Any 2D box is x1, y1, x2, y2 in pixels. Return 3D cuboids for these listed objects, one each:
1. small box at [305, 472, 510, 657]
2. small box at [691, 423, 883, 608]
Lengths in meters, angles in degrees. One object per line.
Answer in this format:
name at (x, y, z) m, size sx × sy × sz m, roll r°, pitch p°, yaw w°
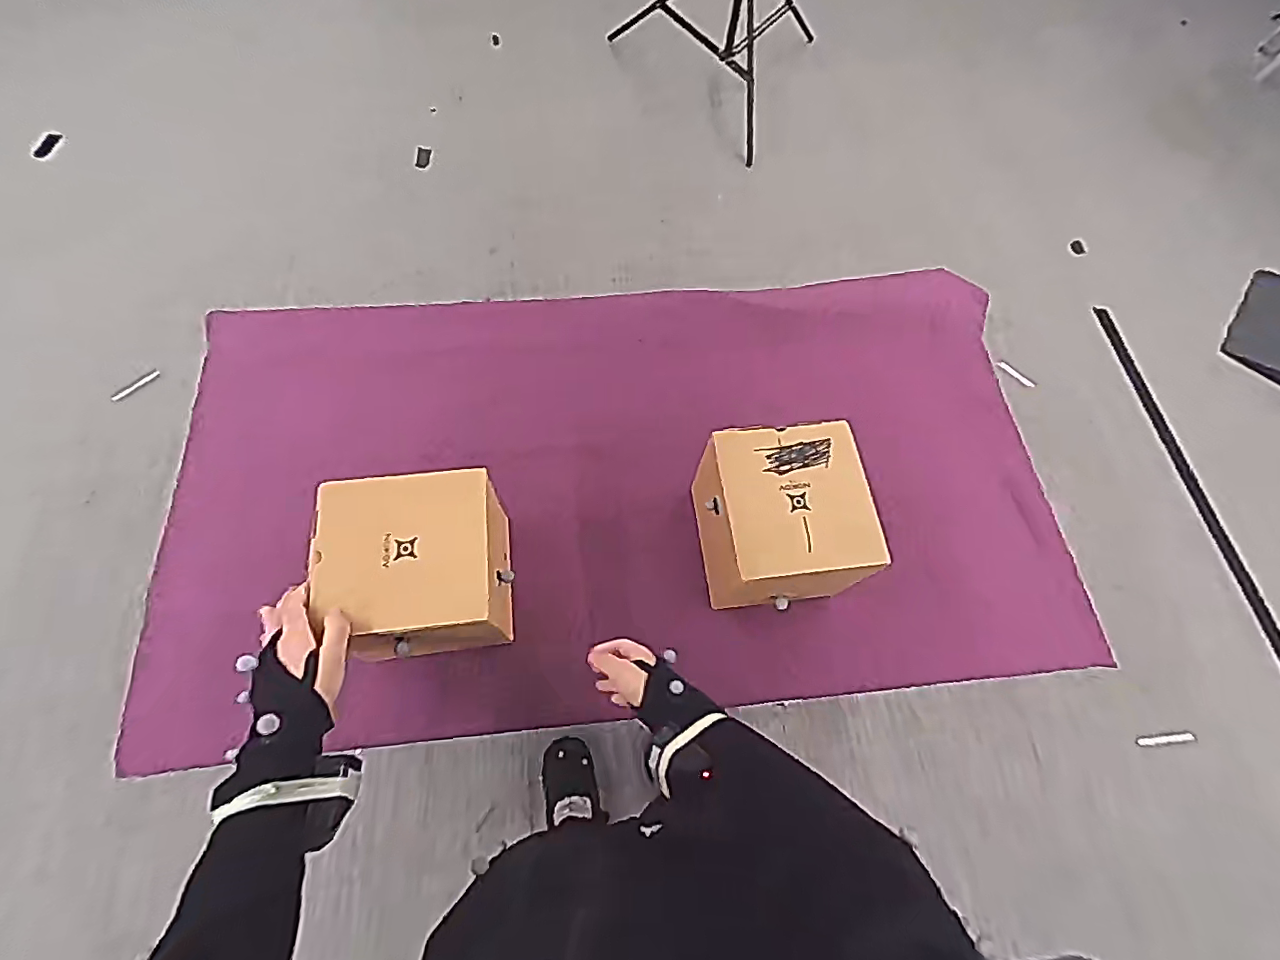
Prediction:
small box at (-0.248, 0.104, 0.623) m, size 0.179 × 0.176 × 0.168 m, roll -7°, pitch 67°, yaw -6°
small box at (0.164, 0.050, 0.671) m, size 0.168 × 0.176 × 0.179 m, roll -6°, pitch 68°, yaw -5°
